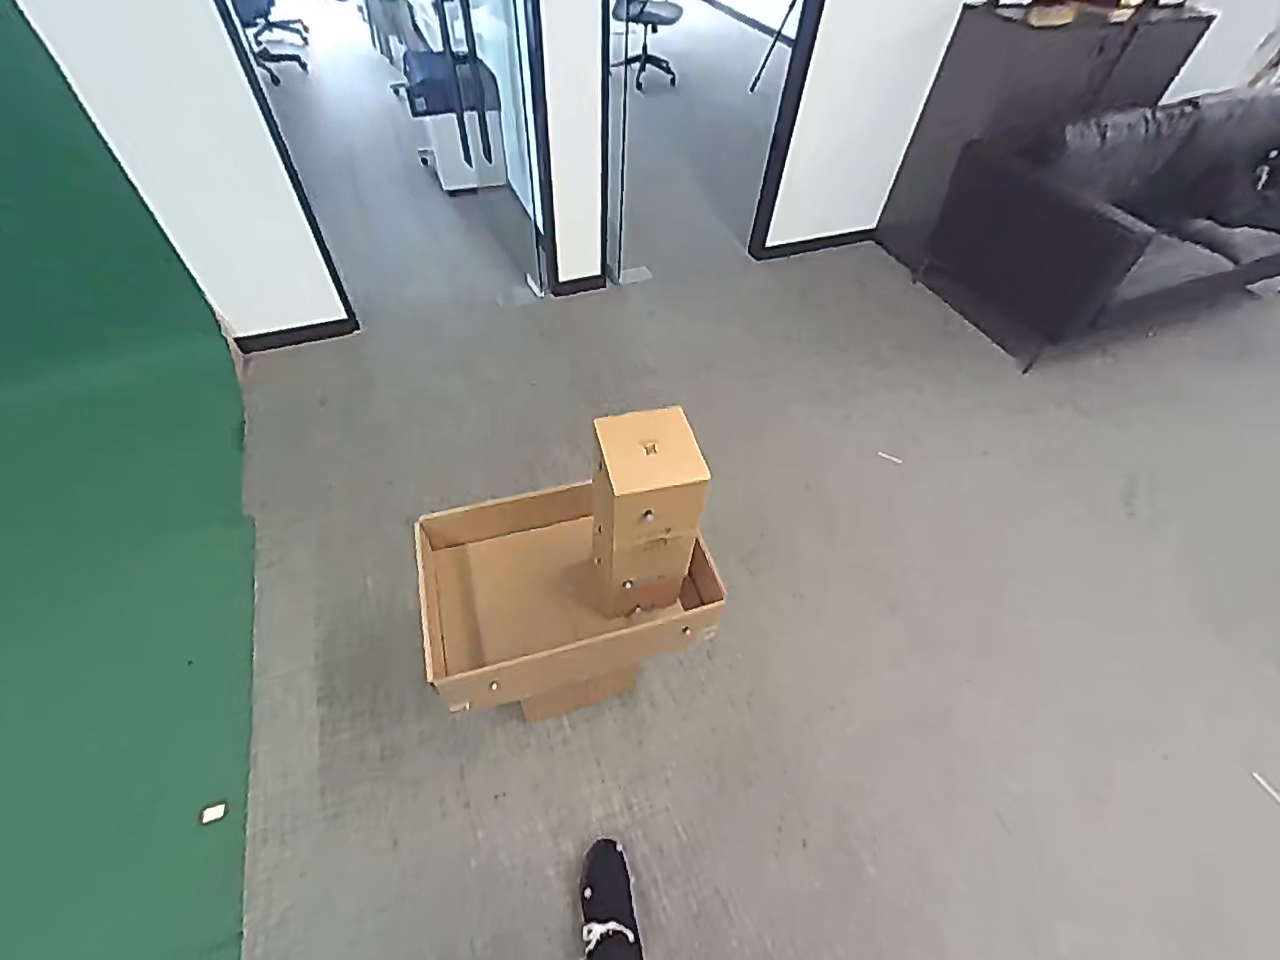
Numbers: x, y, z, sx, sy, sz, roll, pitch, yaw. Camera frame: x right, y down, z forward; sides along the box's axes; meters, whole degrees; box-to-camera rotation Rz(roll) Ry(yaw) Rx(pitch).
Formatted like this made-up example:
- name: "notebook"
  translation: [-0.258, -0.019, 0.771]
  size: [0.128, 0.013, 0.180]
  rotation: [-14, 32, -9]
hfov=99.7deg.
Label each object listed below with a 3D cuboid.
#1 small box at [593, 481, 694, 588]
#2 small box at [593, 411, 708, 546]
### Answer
- name: "small box"
  translation: [0.002, 0.105, 1.106]
  size: [0.168, 0.176, 0.179]
  rotation: [-10, 52, -11]
- name: "small box"
  translation: [0.013, 0.003, 0.980]
  size: [0.168, 0.176, 0.179]
  rotation: [-10, 52, -11]
